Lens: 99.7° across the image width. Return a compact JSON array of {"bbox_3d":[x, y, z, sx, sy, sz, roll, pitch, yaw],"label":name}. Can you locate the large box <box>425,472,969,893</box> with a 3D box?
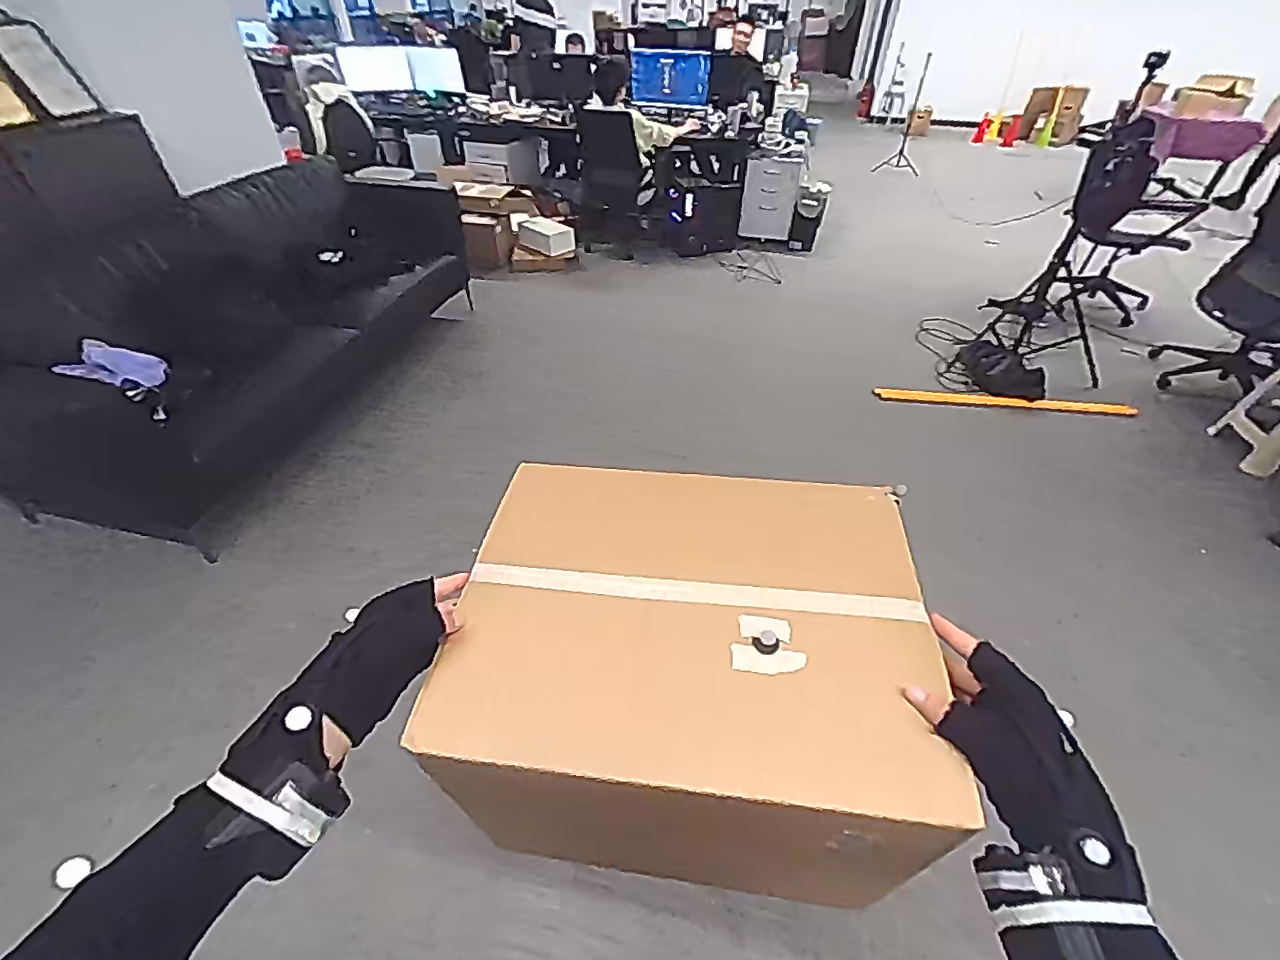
[{"bbox_3d":[0.050,0.215,0.597,0.408,0.320,0.320,4,45,6],"label":"large box"}]
